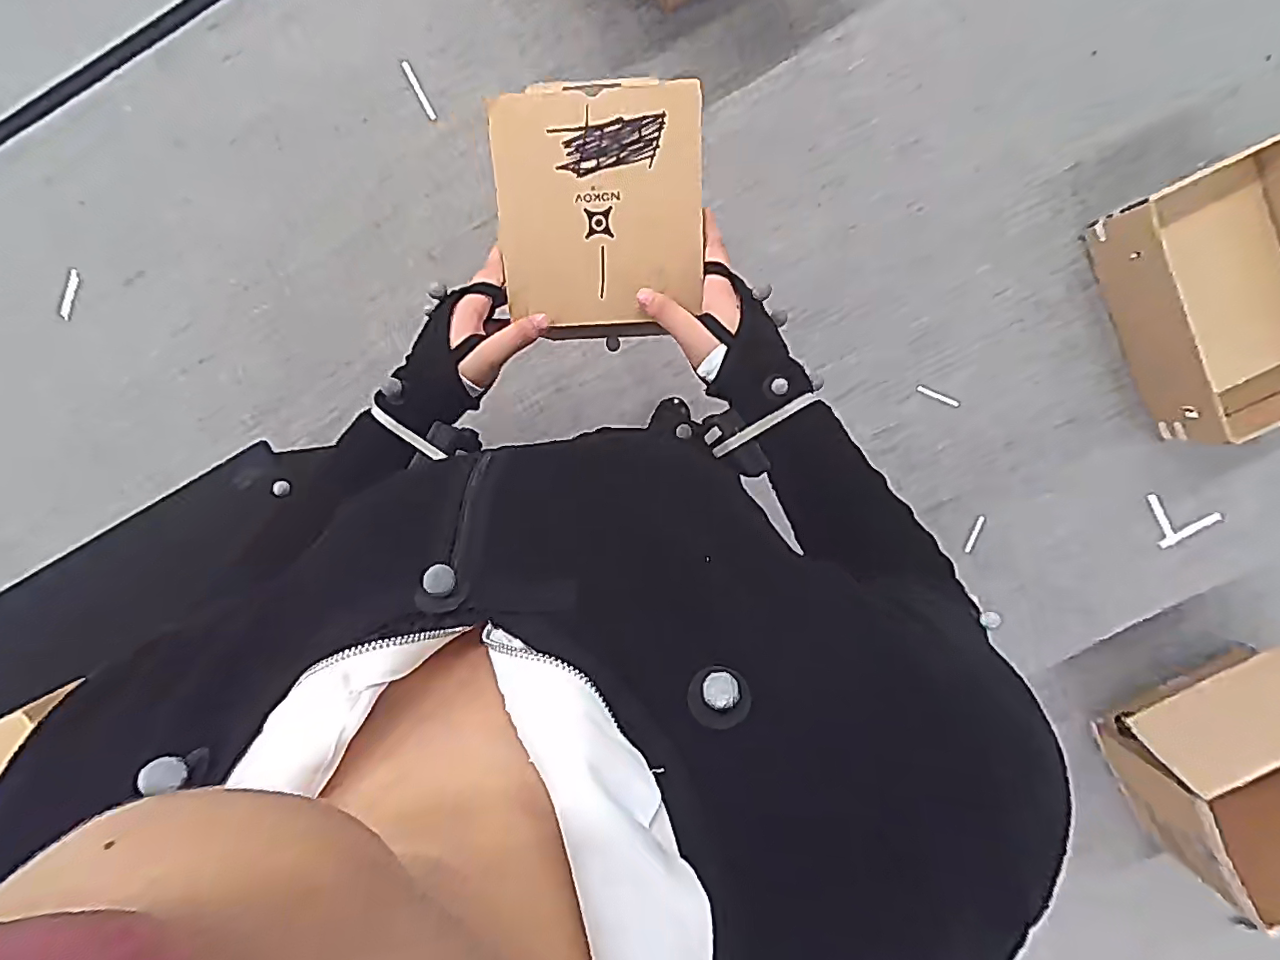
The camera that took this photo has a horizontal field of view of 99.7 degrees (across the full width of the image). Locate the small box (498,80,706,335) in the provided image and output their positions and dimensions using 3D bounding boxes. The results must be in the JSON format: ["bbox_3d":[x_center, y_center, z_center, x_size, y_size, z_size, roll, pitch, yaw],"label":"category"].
[{"bbox_3d":[-0.026,-0.236,0.513,0.168,0.176,0.179,-1,102,3],"label":"small box"}]

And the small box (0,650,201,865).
[{"bbox_3d":[-0.761,0.362,0.726,0.179,0.176,0.168,-26,97,4],"label":"small box"}]
